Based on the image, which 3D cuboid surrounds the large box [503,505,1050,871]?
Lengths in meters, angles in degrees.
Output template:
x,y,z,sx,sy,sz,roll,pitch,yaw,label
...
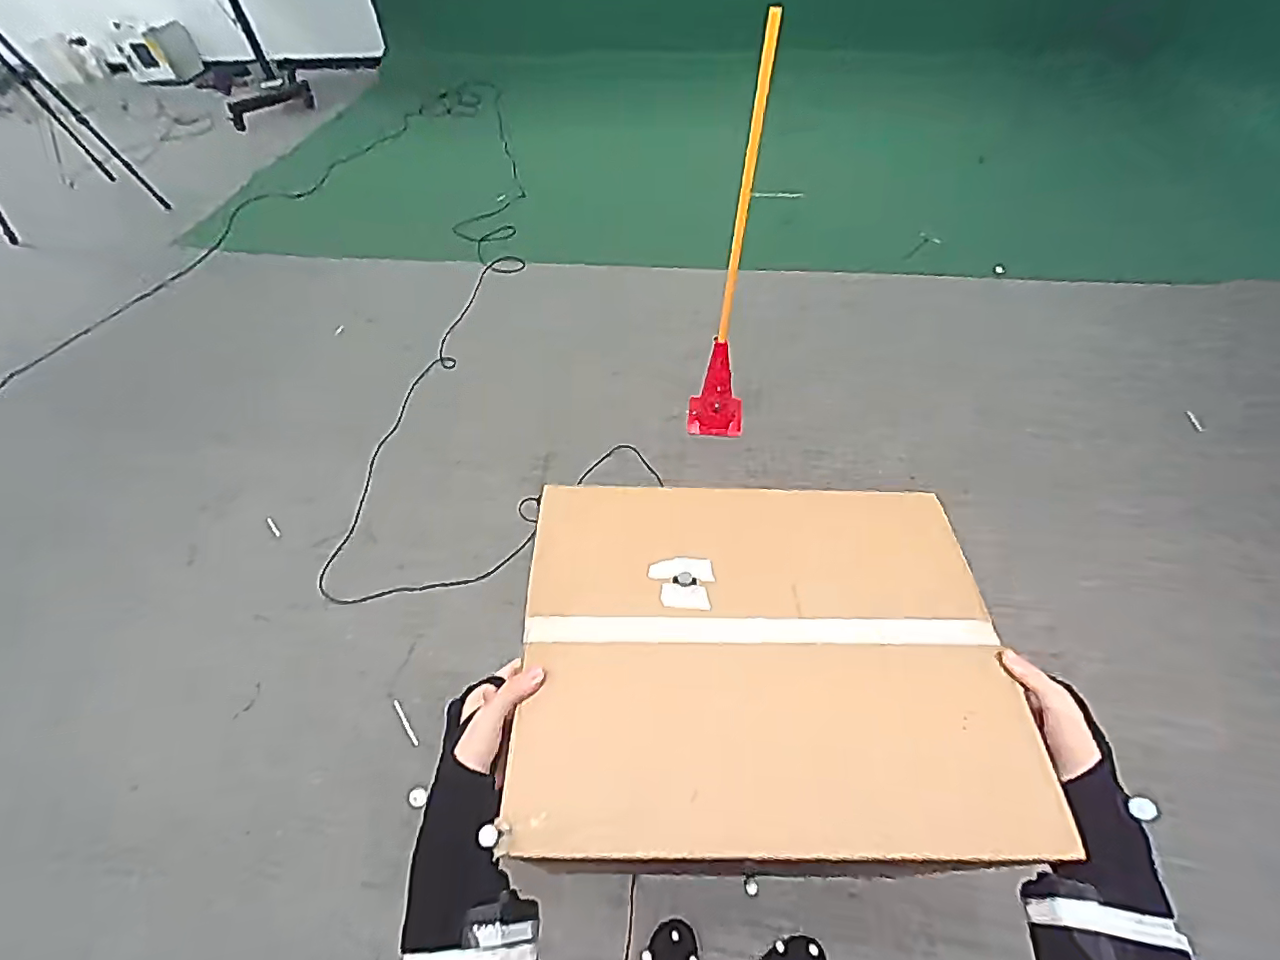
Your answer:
x,y,z,sx,sy,sz,roll,pitch,yaw,label
0.100,0.238,0.593,0.408,0.320,0.320,1,52,0,large box
